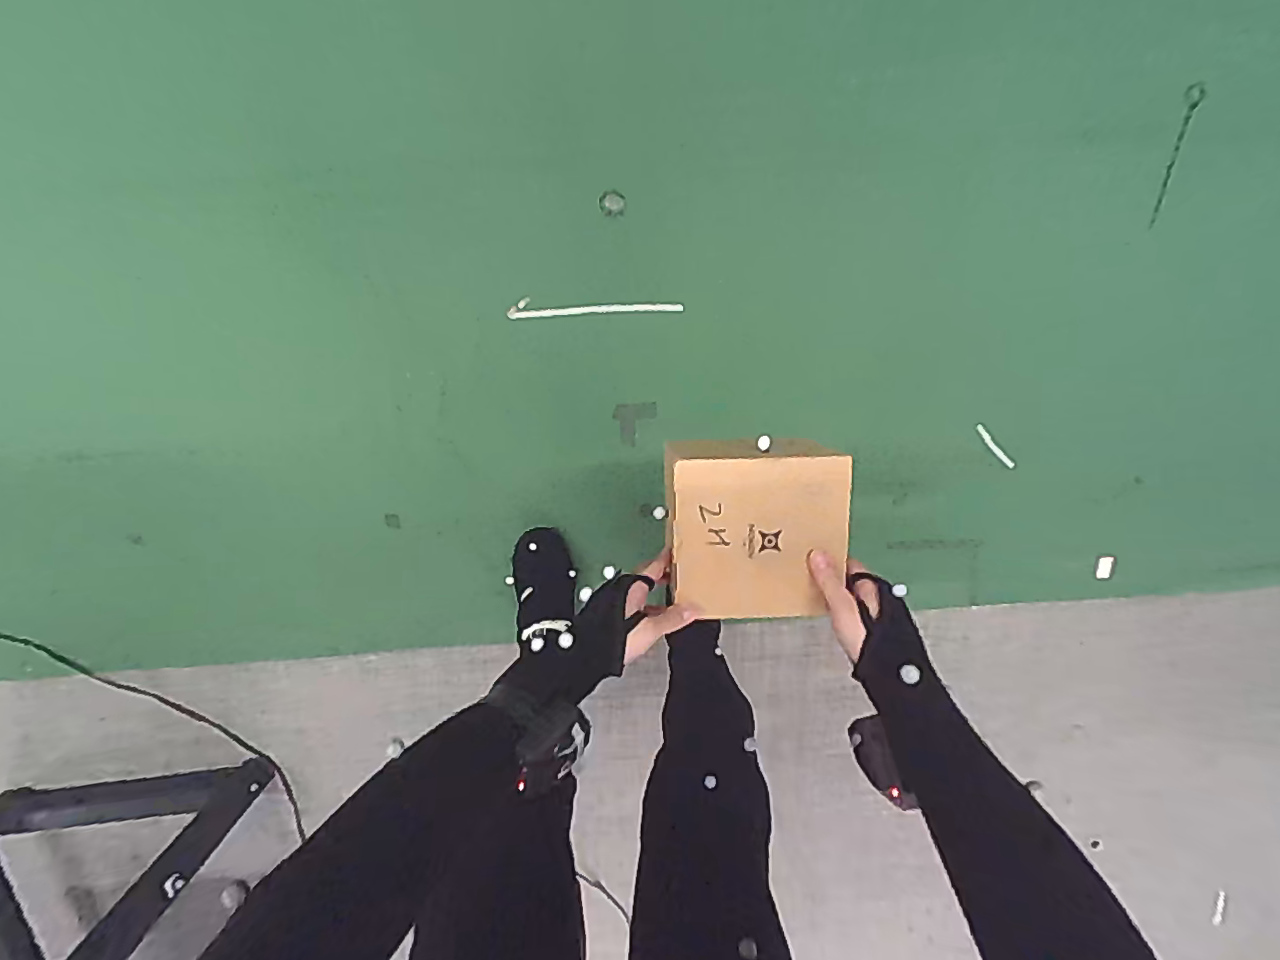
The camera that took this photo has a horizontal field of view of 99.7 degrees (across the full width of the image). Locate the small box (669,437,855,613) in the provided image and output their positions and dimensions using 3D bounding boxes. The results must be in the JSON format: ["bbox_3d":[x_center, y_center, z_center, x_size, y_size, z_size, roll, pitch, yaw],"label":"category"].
[{"bbox_3d":[0.126,0.041,0.623,0.179,0.176,0.168,-1,101,1],"label":"small box"}]
